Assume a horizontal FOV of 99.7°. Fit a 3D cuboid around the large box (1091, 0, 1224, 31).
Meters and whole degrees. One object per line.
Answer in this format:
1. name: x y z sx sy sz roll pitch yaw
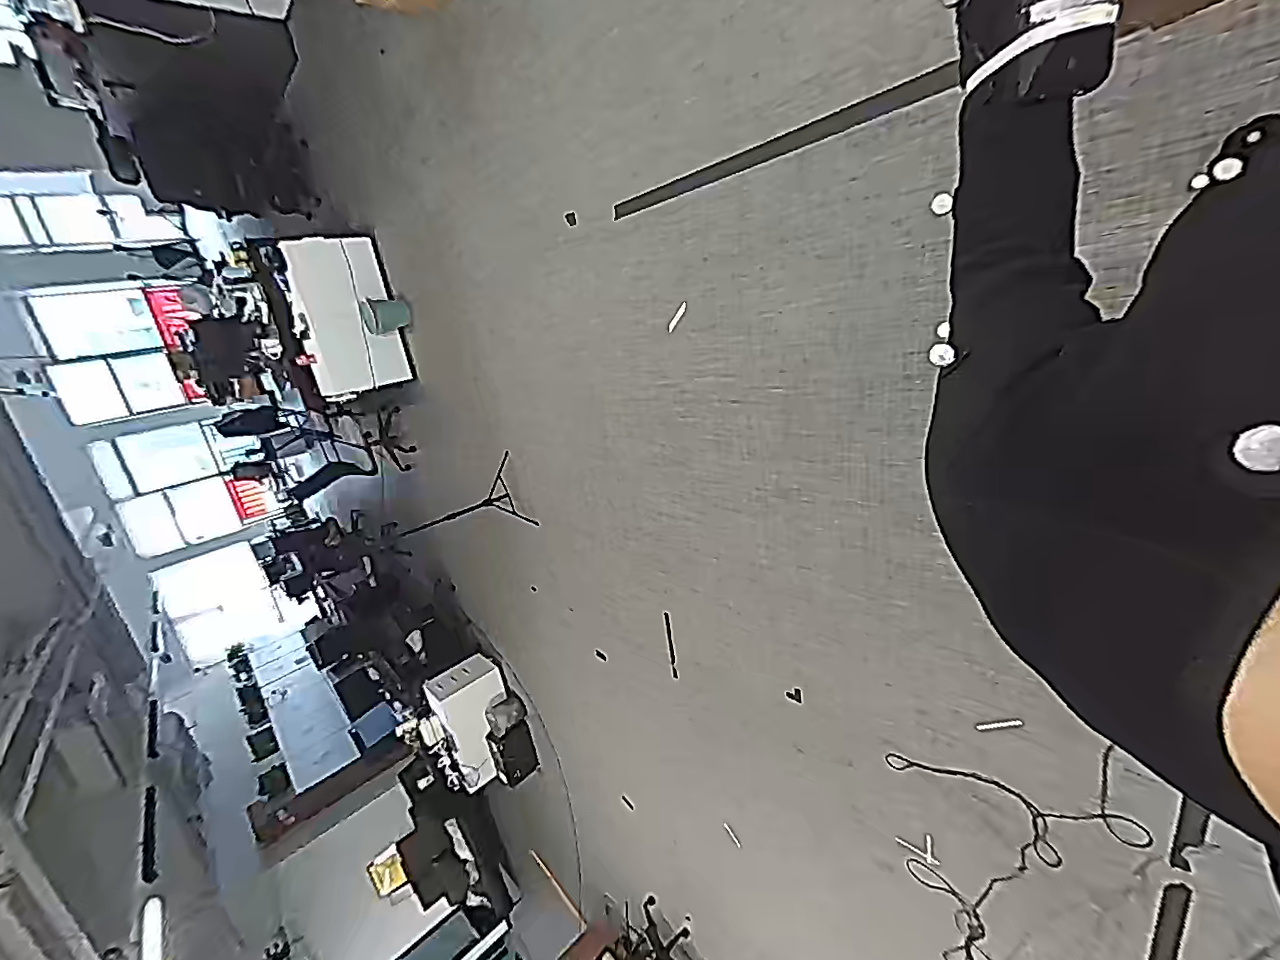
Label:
1. large box: 0.482 -0.524 0.265 0.408 0.320 0.320 2 116 50
